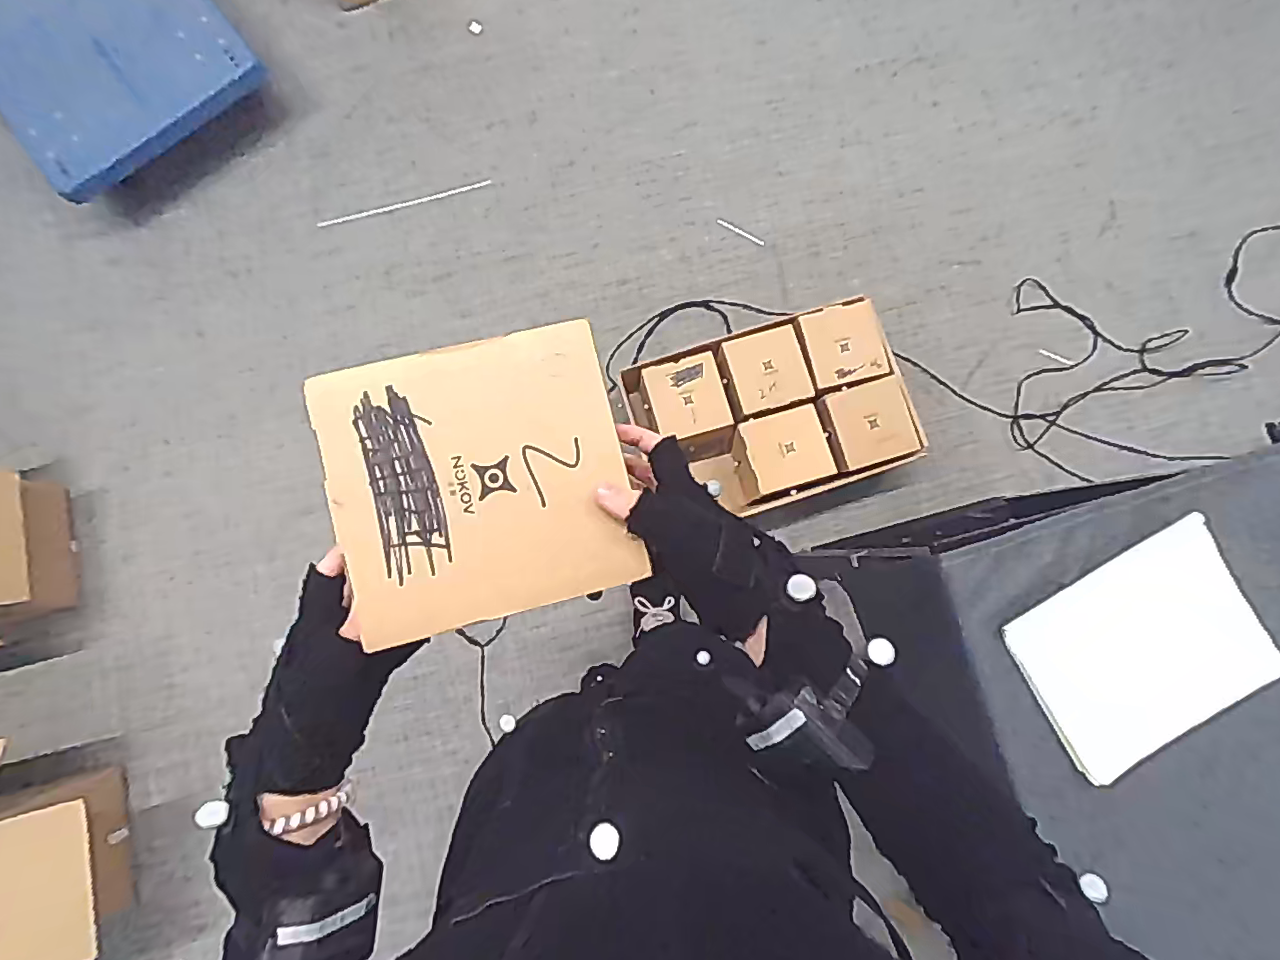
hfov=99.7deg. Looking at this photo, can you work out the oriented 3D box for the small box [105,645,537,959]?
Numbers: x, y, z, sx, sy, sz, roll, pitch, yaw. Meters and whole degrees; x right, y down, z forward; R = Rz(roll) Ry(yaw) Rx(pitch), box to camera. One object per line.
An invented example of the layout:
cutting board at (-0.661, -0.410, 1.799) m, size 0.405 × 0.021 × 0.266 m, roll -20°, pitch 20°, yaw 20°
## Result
small box at (-0.198, 0.237, 0.354) m, size 0.168 × 0.176 × 0.179 m, roll 35°, pitch 44°, yaw -27°
